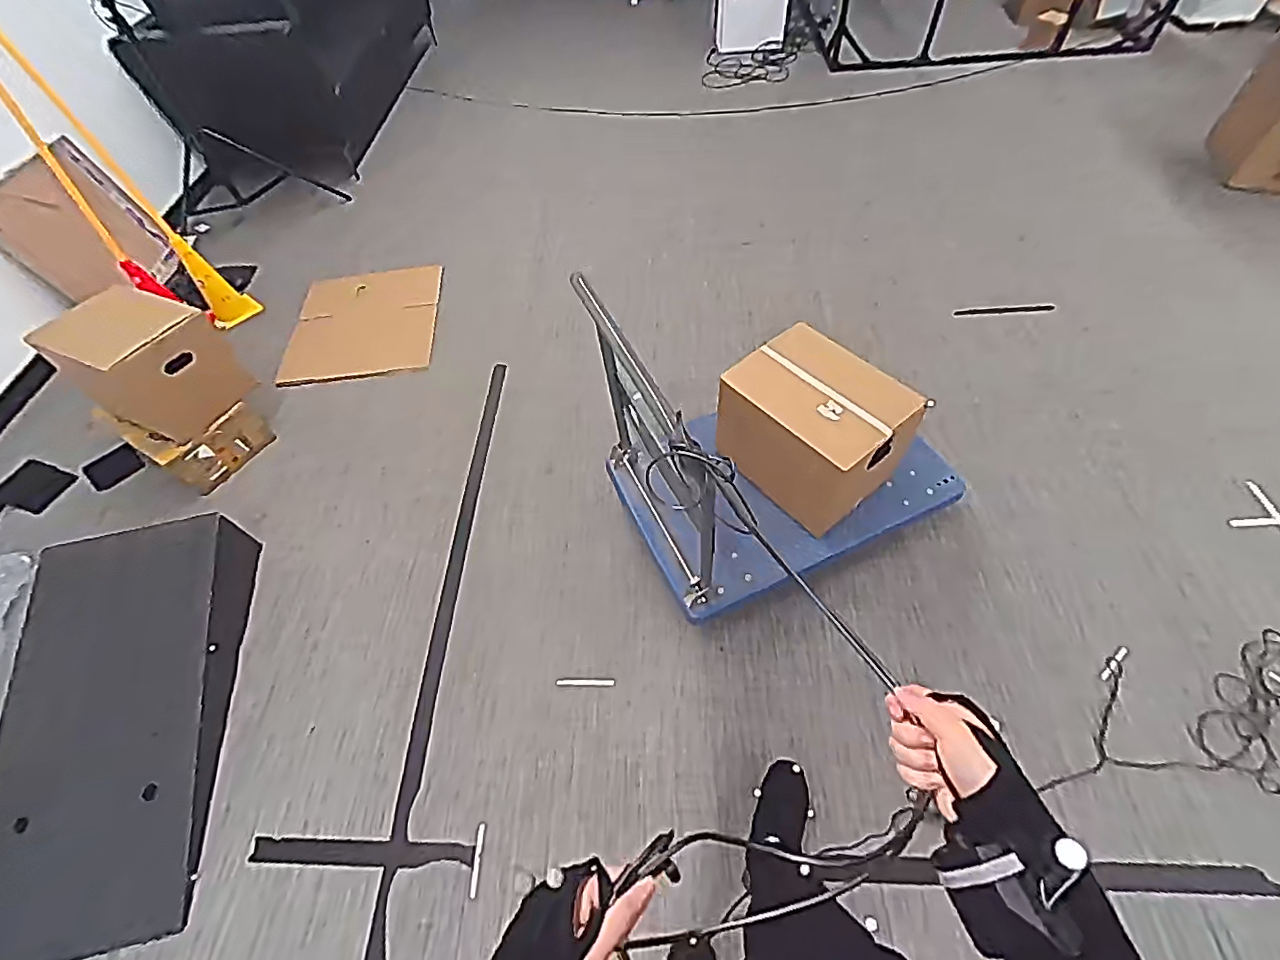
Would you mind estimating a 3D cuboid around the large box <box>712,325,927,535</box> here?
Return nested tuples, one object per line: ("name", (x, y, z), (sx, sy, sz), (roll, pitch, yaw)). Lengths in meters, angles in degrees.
("large box", (0.447, -0.136, 1.443), (0.320, 0.320, 0.408), (-36, 61, -18))
